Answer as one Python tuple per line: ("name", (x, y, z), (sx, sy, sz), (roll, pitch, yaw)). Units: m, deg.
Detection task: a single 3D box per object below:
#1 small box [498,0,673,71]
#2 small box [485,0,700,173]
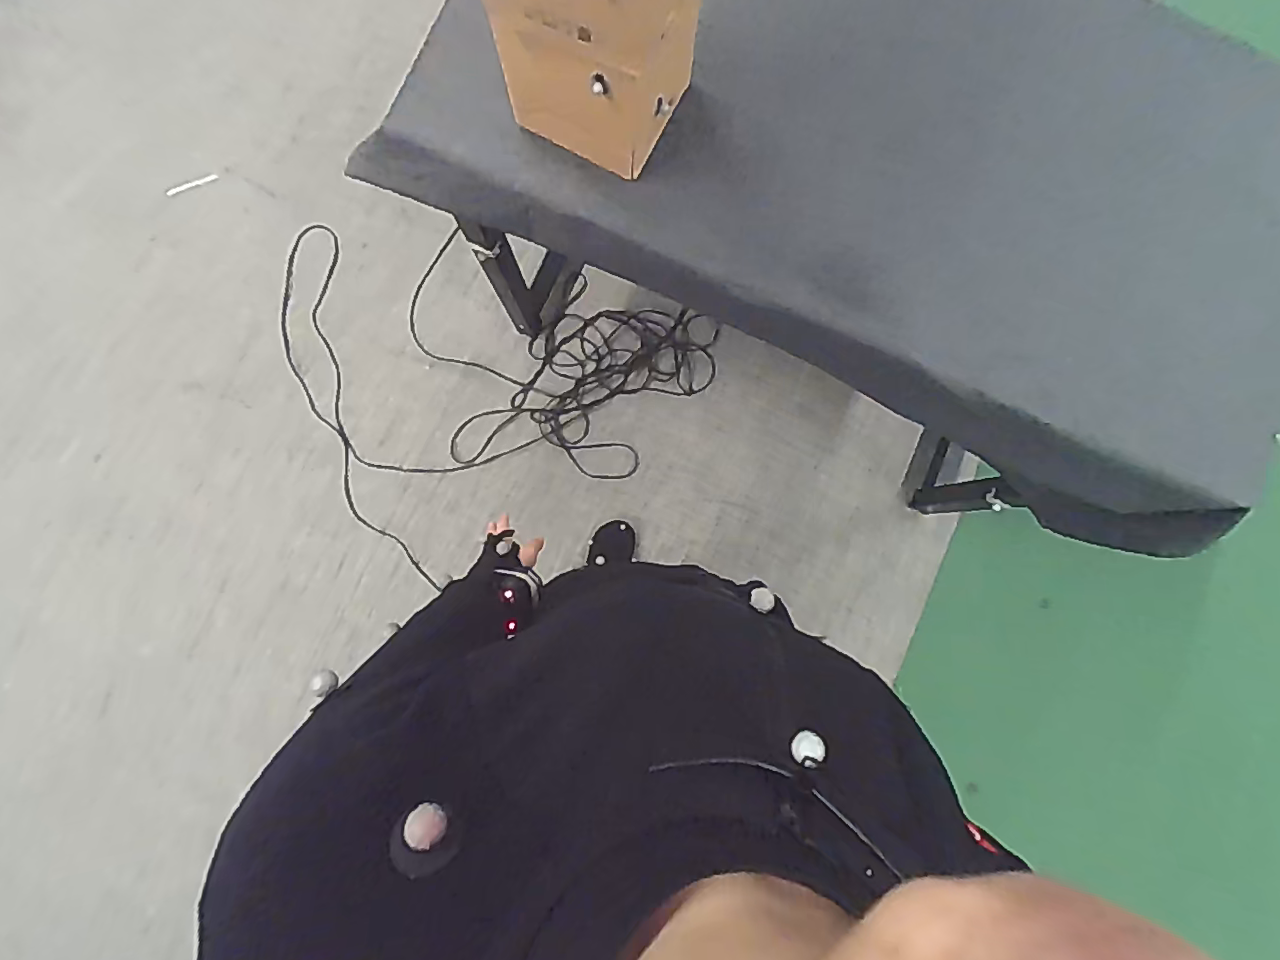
("small box", (-0.040, -0.511, 0.465), (0.168, 0.176, 0.179), (22, 83, -1))
("small box", (-0.046, -0.502, 0.626), (0.179, 0.176, 0.168), (27, 84, 2))
